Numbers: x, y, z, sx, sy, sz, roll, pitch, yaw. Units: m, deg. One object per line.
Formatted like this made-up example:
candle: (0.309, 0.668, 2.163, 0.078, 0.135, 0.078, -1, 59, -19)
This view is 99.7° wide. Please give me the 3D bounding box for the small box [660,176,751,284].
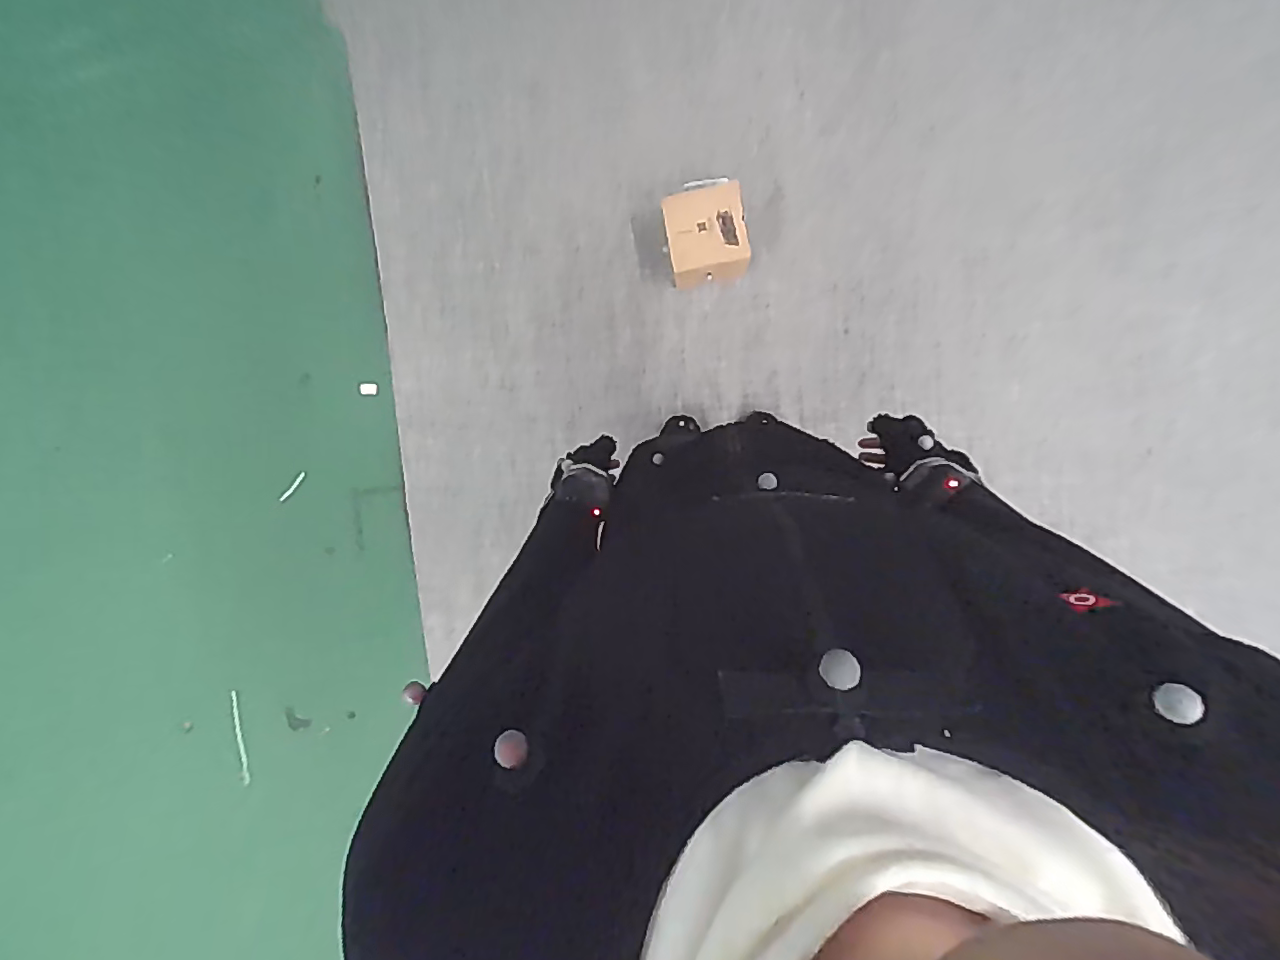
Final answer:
small box: (0.150, -0.578, 1.272, 0.179, 0.176, 0.168, -13, 97, 7)
